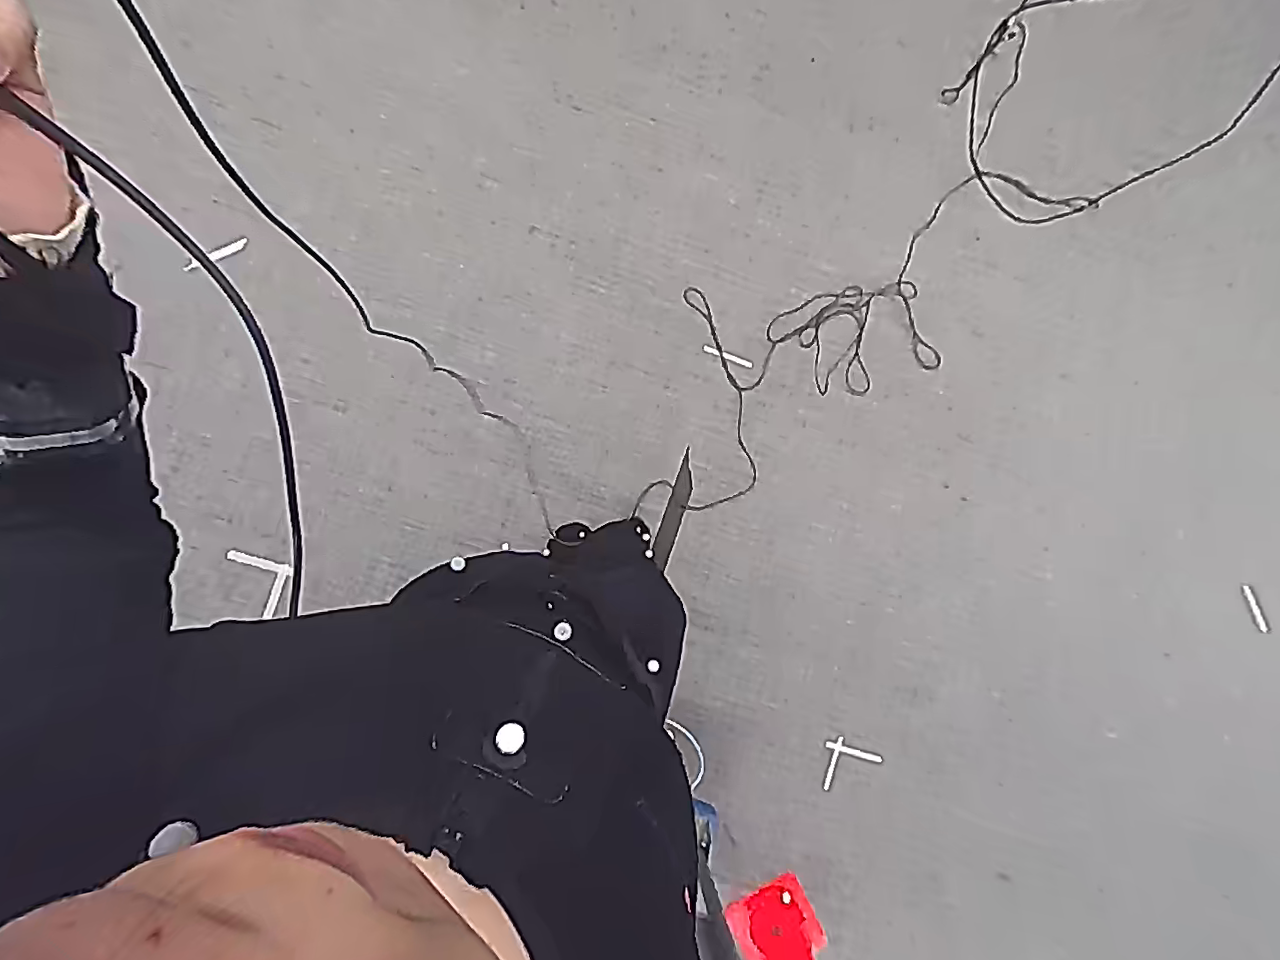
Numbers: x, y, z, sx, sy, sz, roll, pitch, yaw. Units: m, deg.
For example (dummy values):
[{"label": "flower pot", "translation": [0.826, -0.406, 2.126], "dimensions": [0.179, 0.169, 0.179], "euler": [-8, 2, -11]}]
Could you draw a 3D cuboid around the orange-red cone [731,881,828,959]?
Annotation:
[{"label": "orange-red cone", "translation": [0.349, 1.097, 1.151], "dimensions": [0.199, 0.360, 0.198], "euler": [-25, 87, -3]}]
